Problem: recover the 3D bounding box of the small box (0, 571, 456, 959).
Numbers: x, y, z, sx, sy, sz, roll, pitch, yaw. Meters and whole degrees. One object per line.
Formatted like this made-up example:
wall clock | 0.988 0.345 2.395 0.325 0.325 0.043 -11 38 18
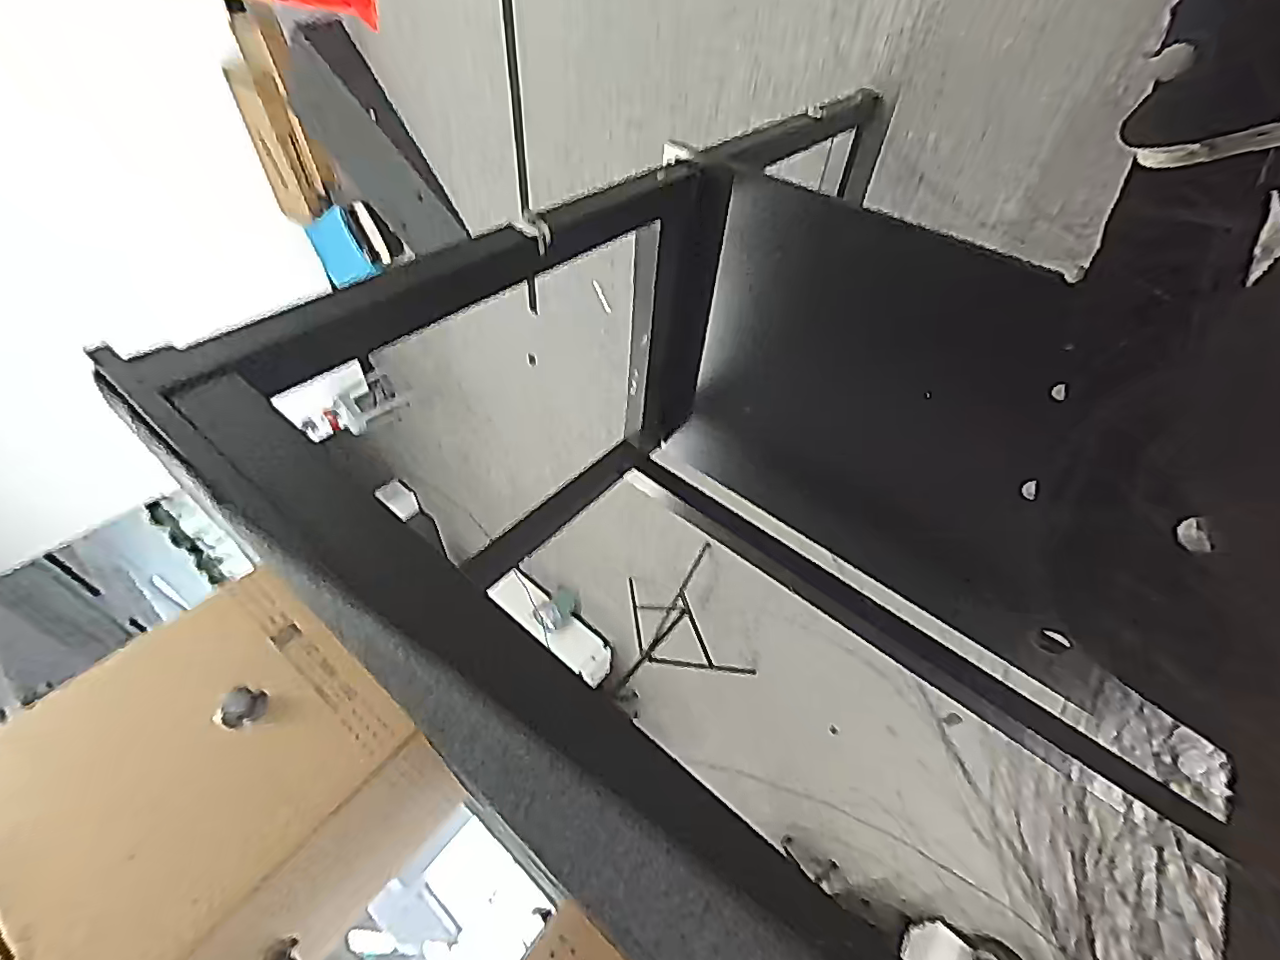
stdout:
small box | -0.243 0.196 0.348 0.168 0.176 0.179 33 144 21
